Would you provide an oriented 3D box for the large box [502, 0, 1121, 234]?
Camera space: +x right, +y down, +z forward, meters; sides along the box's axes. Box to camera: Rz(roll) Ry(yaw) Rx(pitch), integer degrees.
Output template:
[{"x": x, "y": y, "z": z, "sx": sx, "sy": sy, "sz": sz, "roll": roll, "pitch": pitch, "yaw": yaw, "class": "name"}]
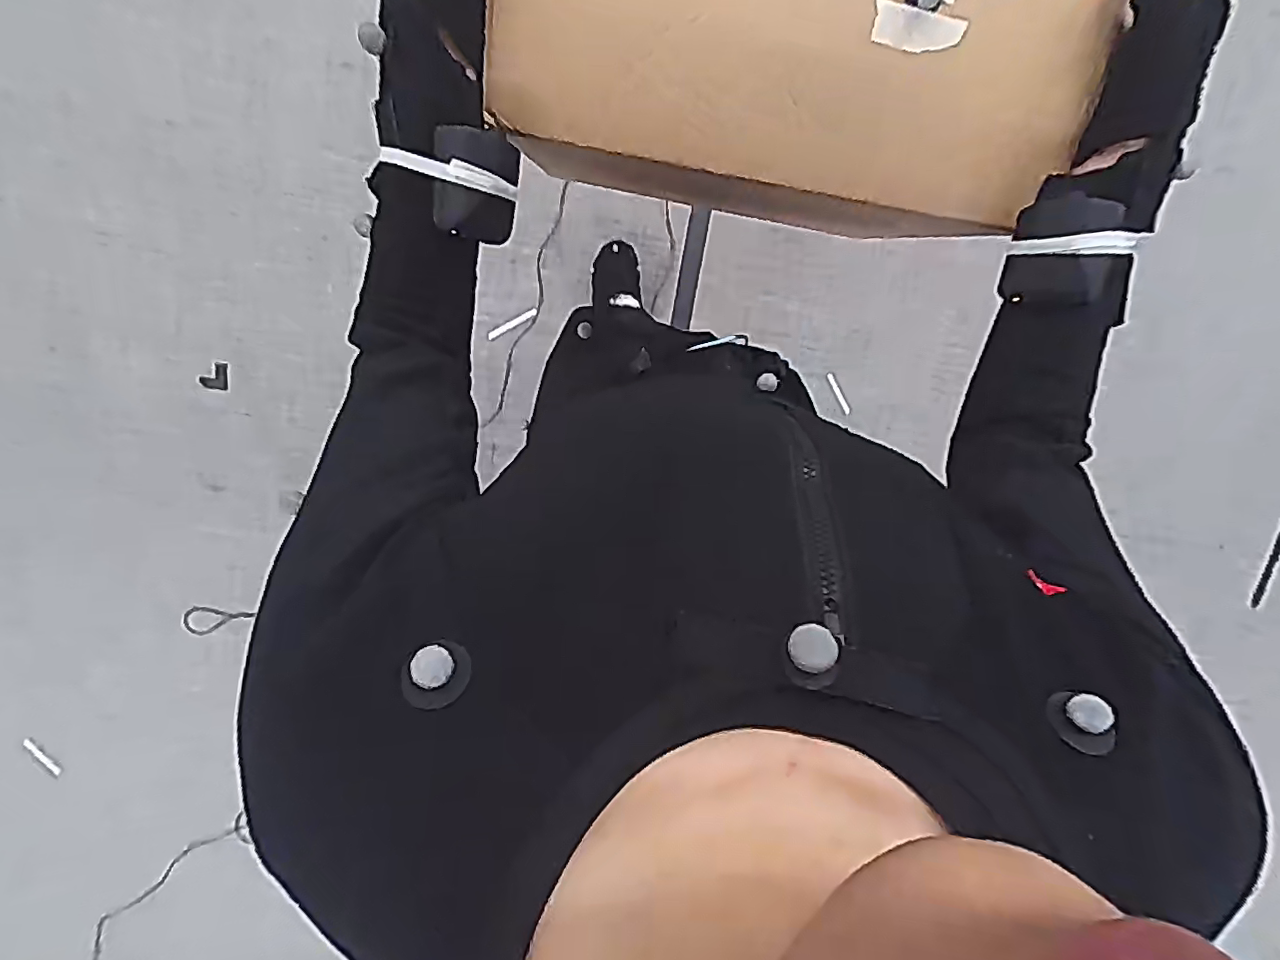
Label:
[{"x": 0.114, "y": -0.411, "z": 0.467, "sx": 0.408, "sy": 0.320, "sz": 0.320, "roll": 8, "pitch": 114, "yaw": -6, "class": "large box"}]
